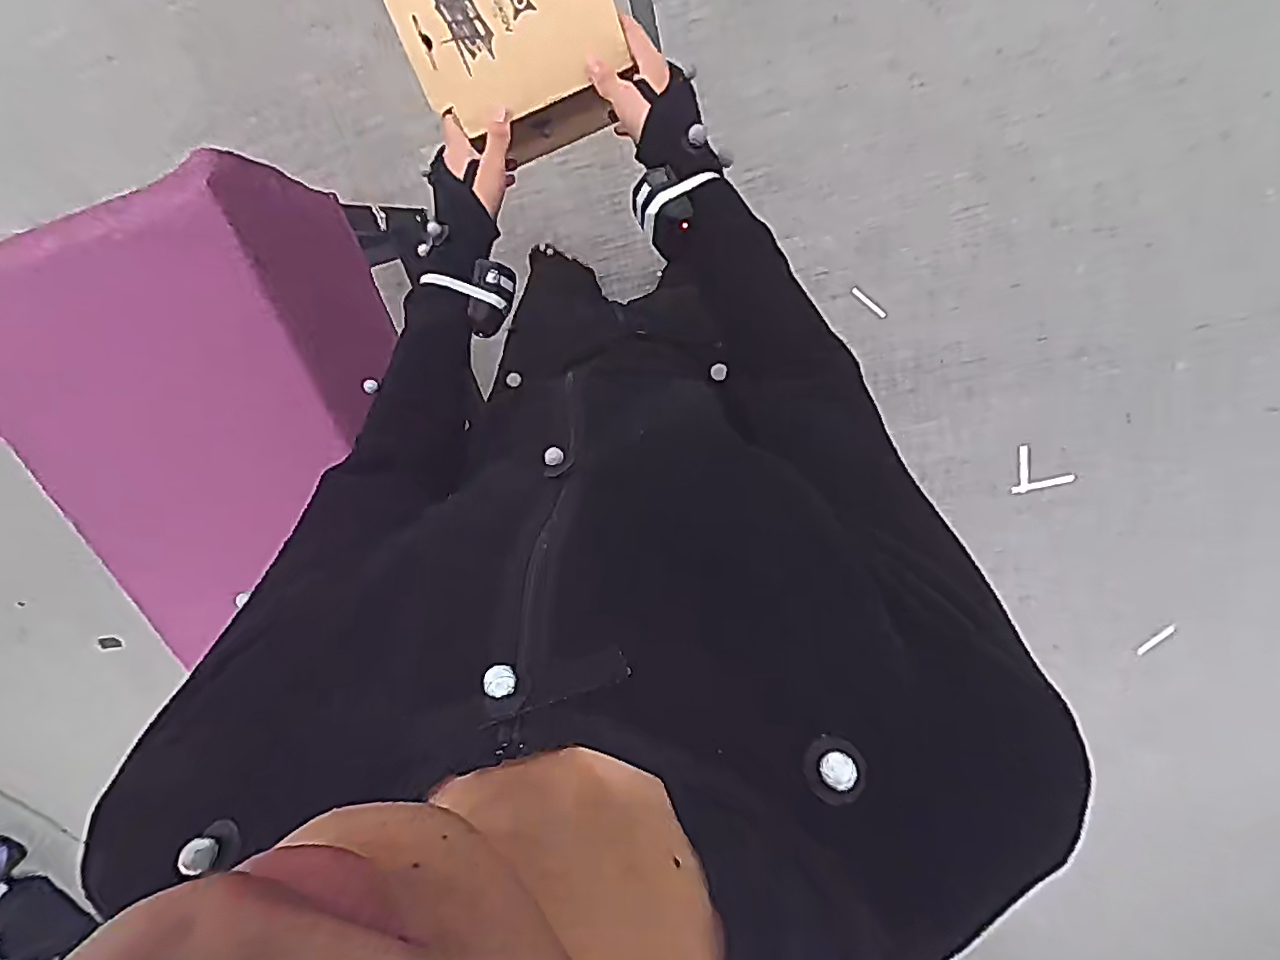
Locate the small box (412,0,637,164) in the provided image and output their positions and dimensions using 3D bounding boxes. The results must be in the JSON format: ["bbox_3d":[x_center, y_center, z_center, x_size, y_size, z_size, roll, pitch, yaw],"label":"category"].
[{"bbox_3d":[-0.112,-0.454,0.555,0.179,0.176,0.168,-21,110,4],"label":"small box"}]
